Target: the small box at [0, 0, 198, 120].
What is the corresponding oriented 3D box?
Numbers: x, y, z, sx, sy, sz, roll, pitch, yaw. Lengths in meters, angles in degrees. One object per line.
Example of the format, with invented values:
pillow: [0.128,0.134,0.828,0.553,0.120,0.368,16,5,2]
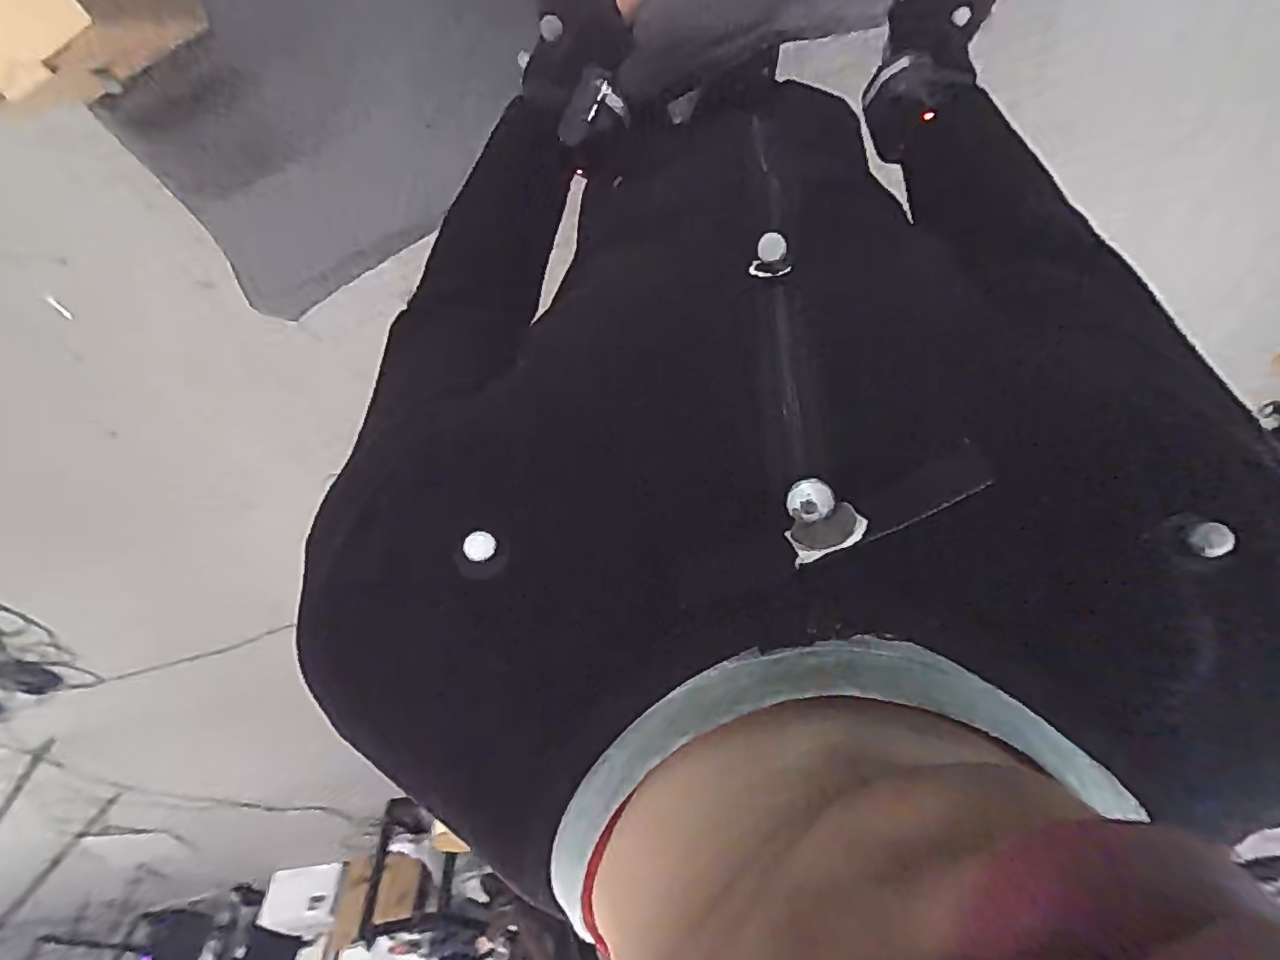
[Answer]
small box: [-0.504,-0.411,0.412,0.168,0.176,0.179,-21,131,11]
